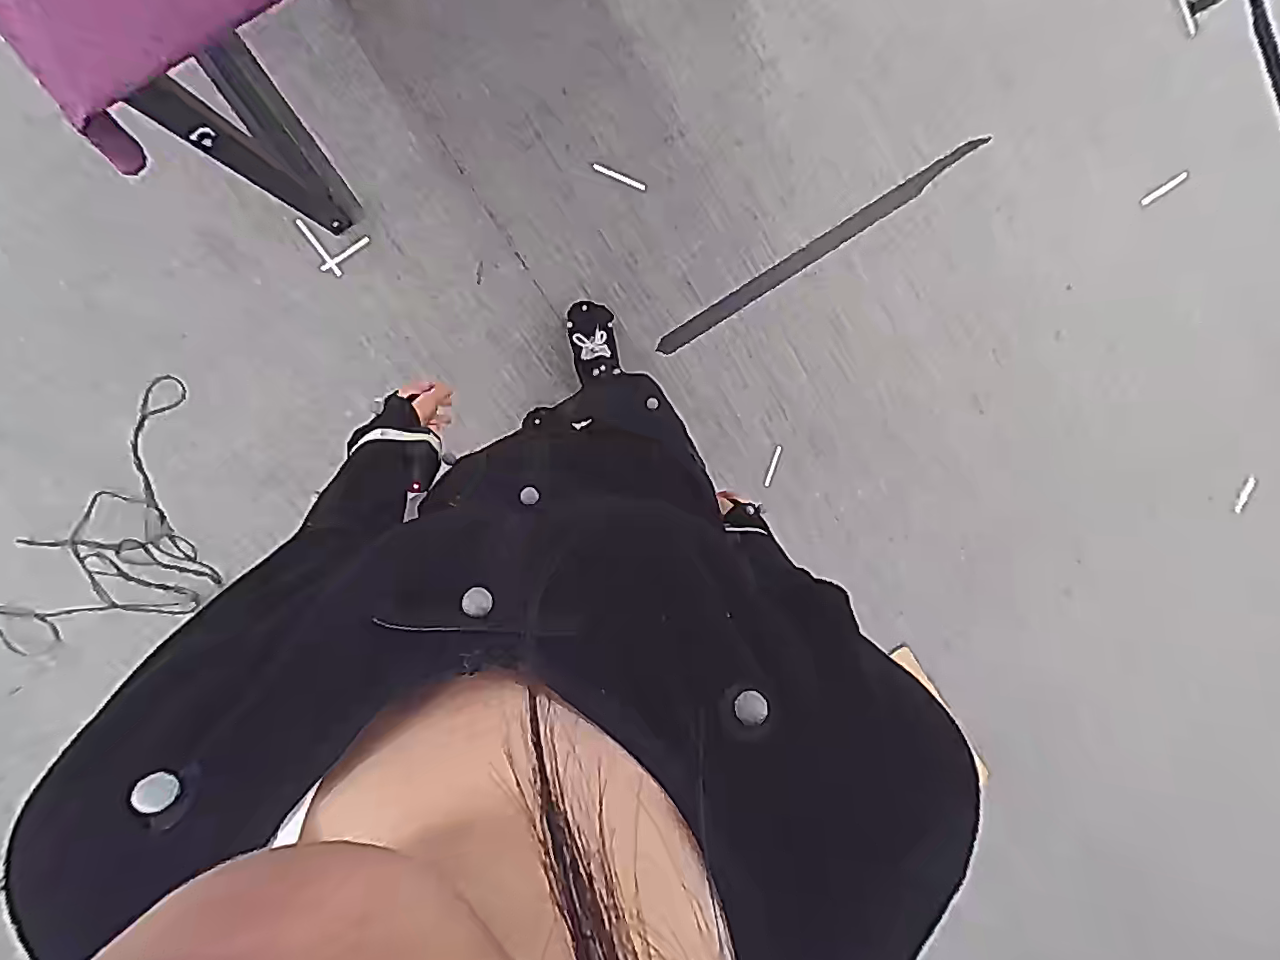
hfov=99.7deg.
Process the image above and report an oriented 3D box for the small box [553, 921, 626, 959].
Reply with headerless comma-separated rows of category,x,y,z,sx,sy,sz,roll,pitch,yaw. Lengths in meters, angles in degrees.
small box,-0.127,1.220,1.299,0.168,0.176,0.179,14,97,-9
